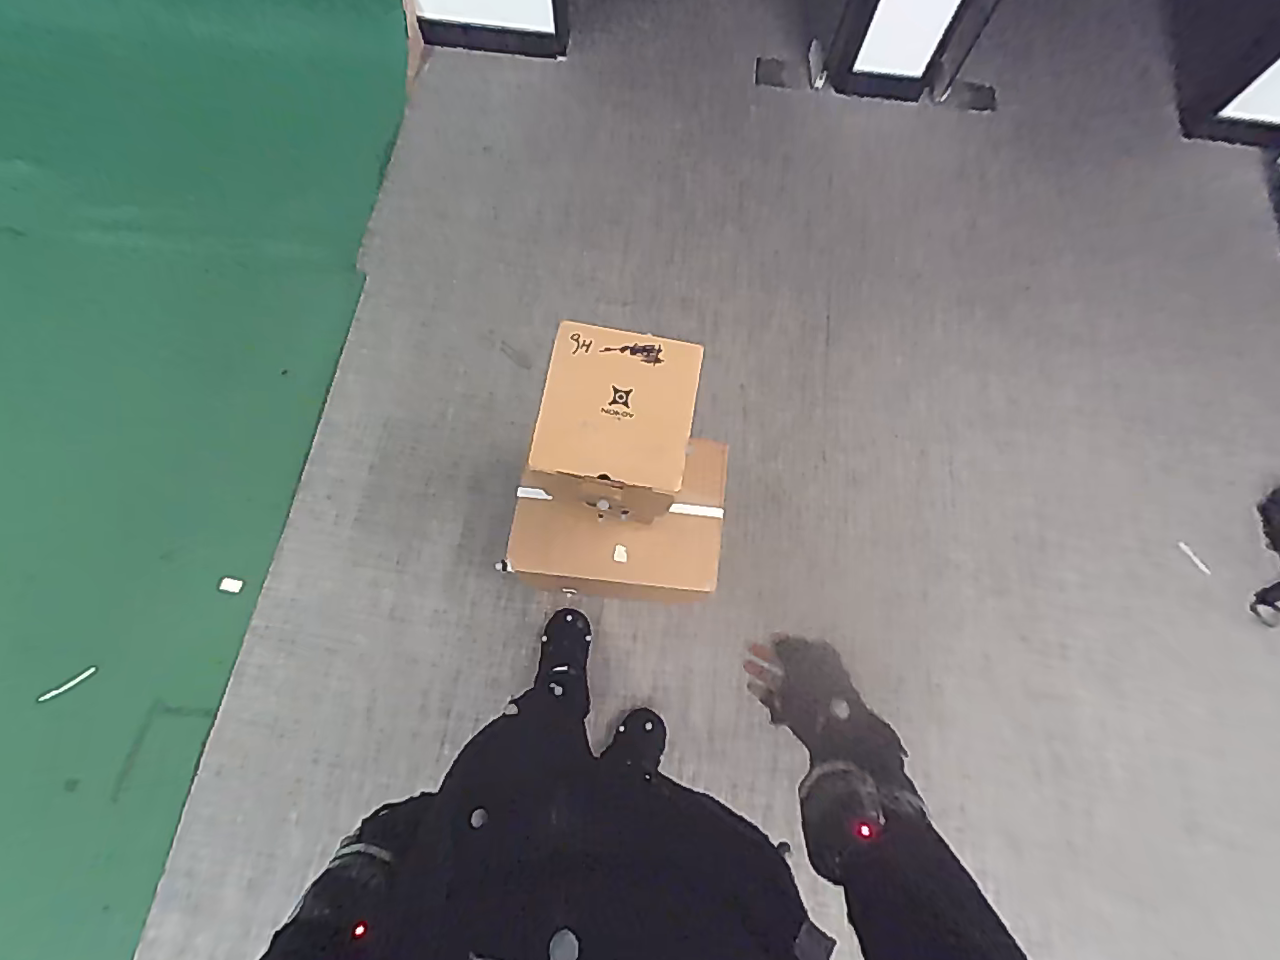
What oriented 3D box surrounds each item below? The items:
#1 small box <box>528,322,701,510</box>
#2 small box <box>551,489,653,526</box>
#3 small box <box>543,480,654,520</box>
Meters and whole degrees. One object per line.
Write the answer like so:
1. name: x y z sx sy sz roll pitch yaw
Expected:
1. small box: -0.027 -0.066 0.671 0.168 0.176 0.179 10 79 0
2. small box: -0.049 -0.018 0.991 0.179 0.176 0.168 13 76 1
3. small box: -0.039 -0.045 0.834 0.168 0.176 0.179 13 77 0
